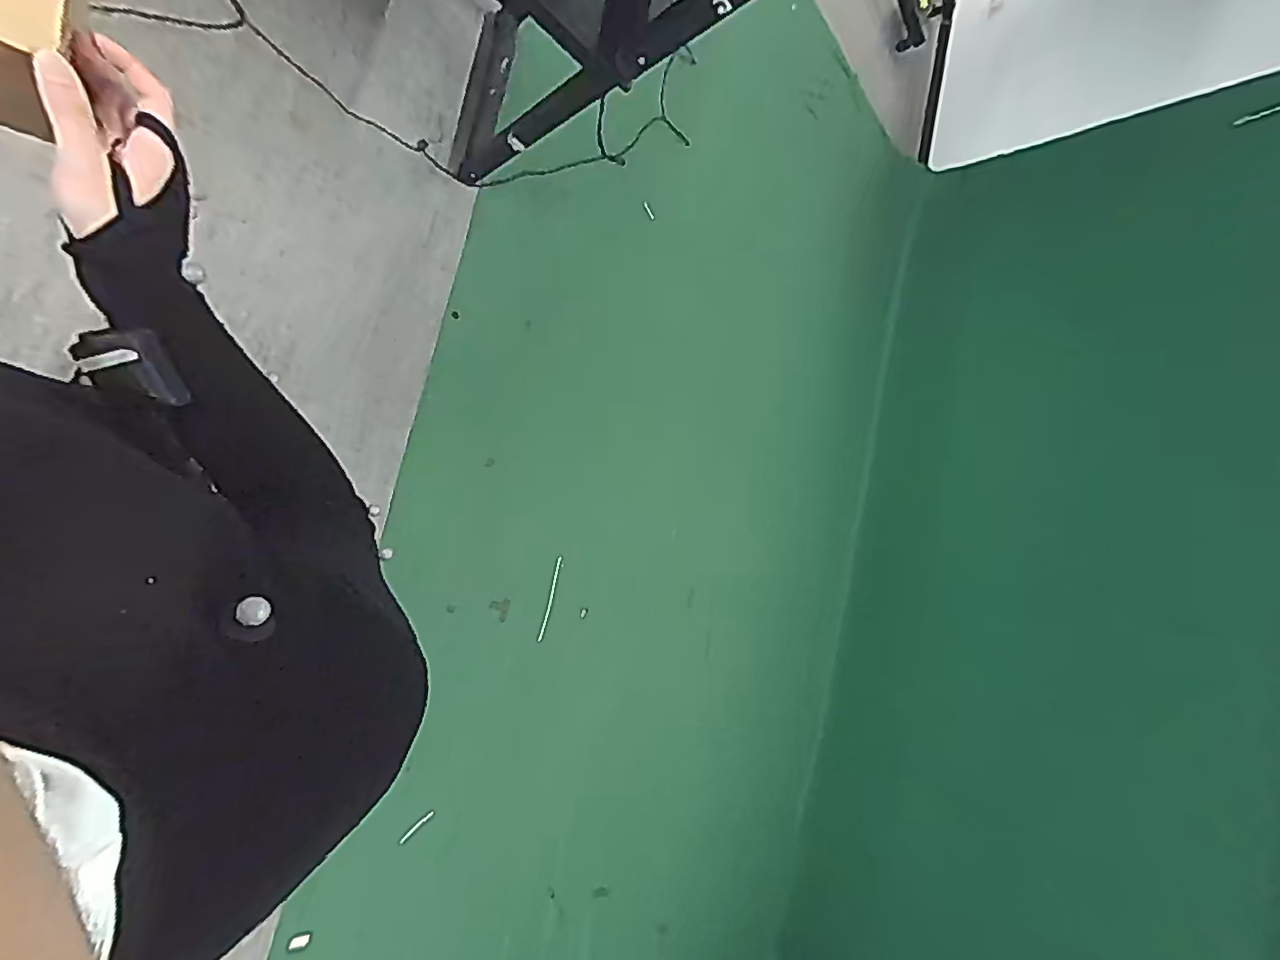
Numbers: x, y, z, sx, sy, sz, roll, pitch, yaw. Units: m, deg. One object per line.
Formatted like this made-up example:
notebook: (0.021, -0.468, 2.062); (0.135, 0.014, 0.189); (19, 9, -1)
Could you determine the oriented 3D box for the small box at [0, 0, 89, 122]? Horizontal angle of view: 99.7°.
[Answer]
small box: (-0.474, -0.367, 0.334); (0.179, 0.176, 0.168); (7, 91, -45)
